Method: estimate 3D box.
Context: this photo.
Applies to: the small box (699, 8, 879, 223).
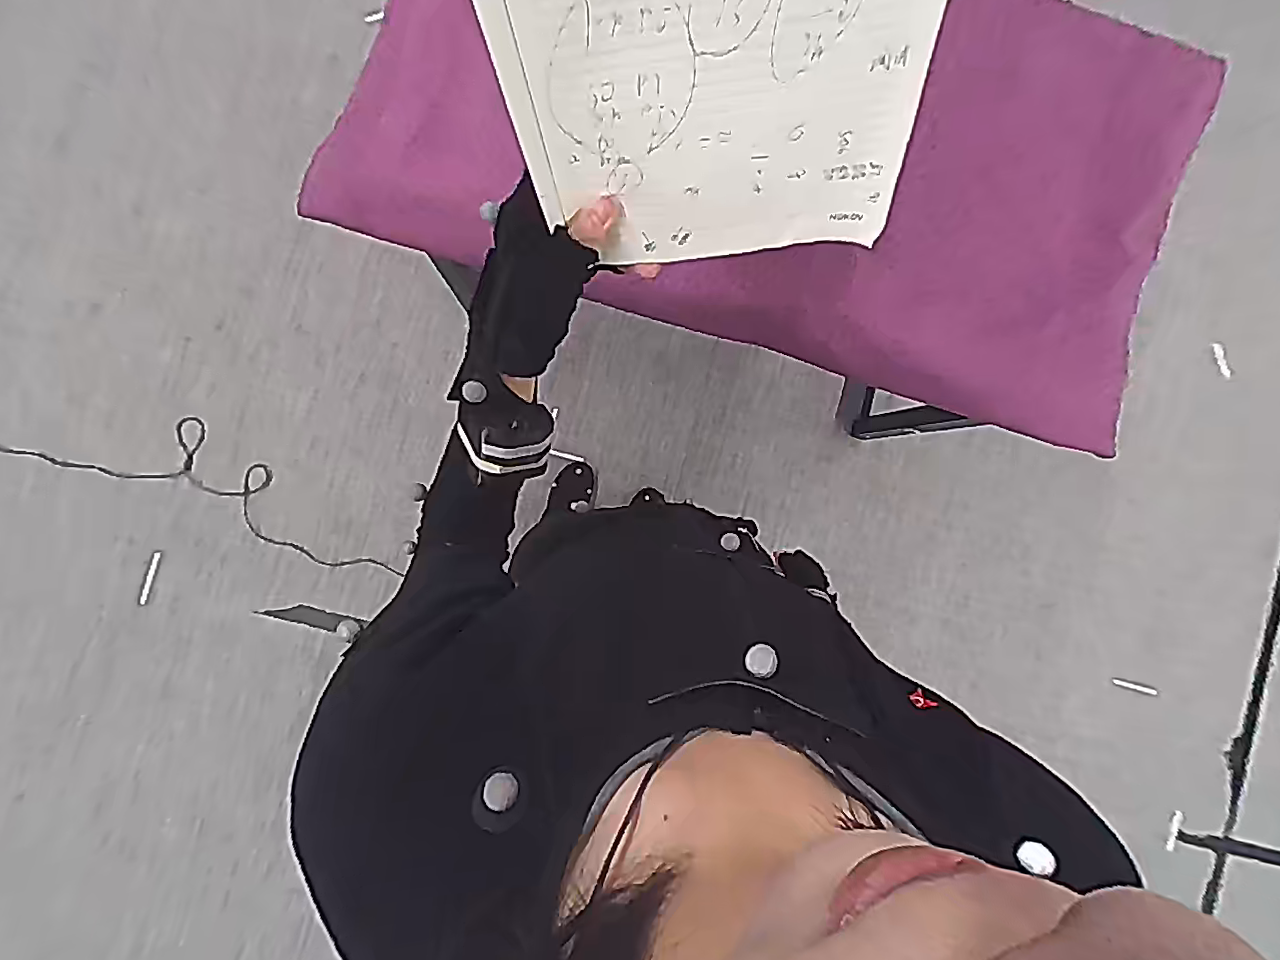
[{"bbox_3d":[0.188,-0.467,0.723,0.179,0.176,0.168,4,89,-7],"label":"small box"}]
